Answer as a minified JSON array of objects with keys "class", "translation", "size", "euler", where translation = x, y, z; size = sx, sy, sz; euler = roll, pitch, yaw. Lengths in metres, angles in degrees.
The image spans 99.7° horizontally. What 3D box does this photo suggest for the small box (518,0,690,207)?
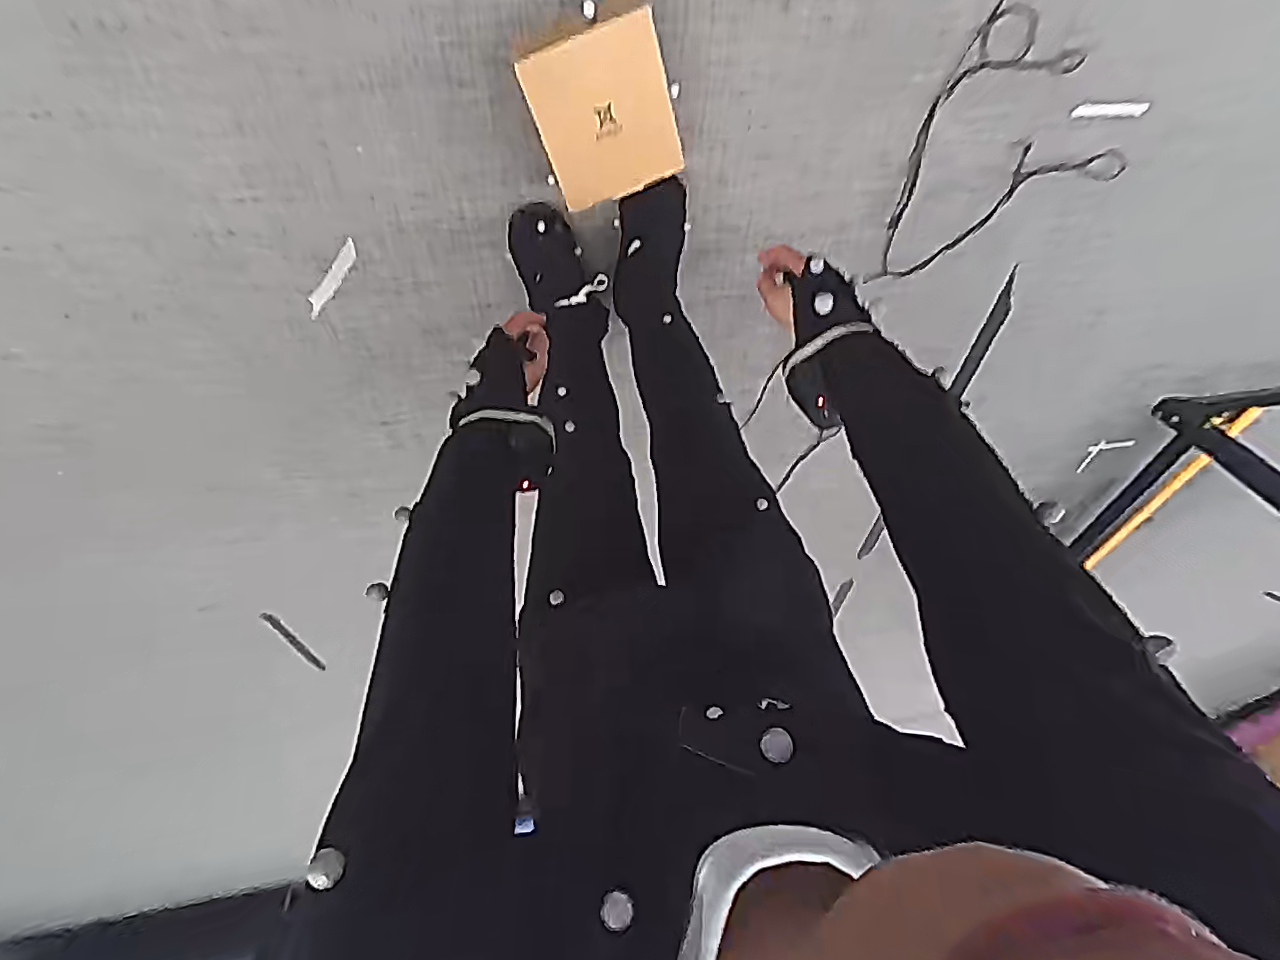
[{"class":"small box","translation":[-0.049,-0.498,0.702],"size":[0.168,0.176,0.179],"euler":[-19,138,6]}]
